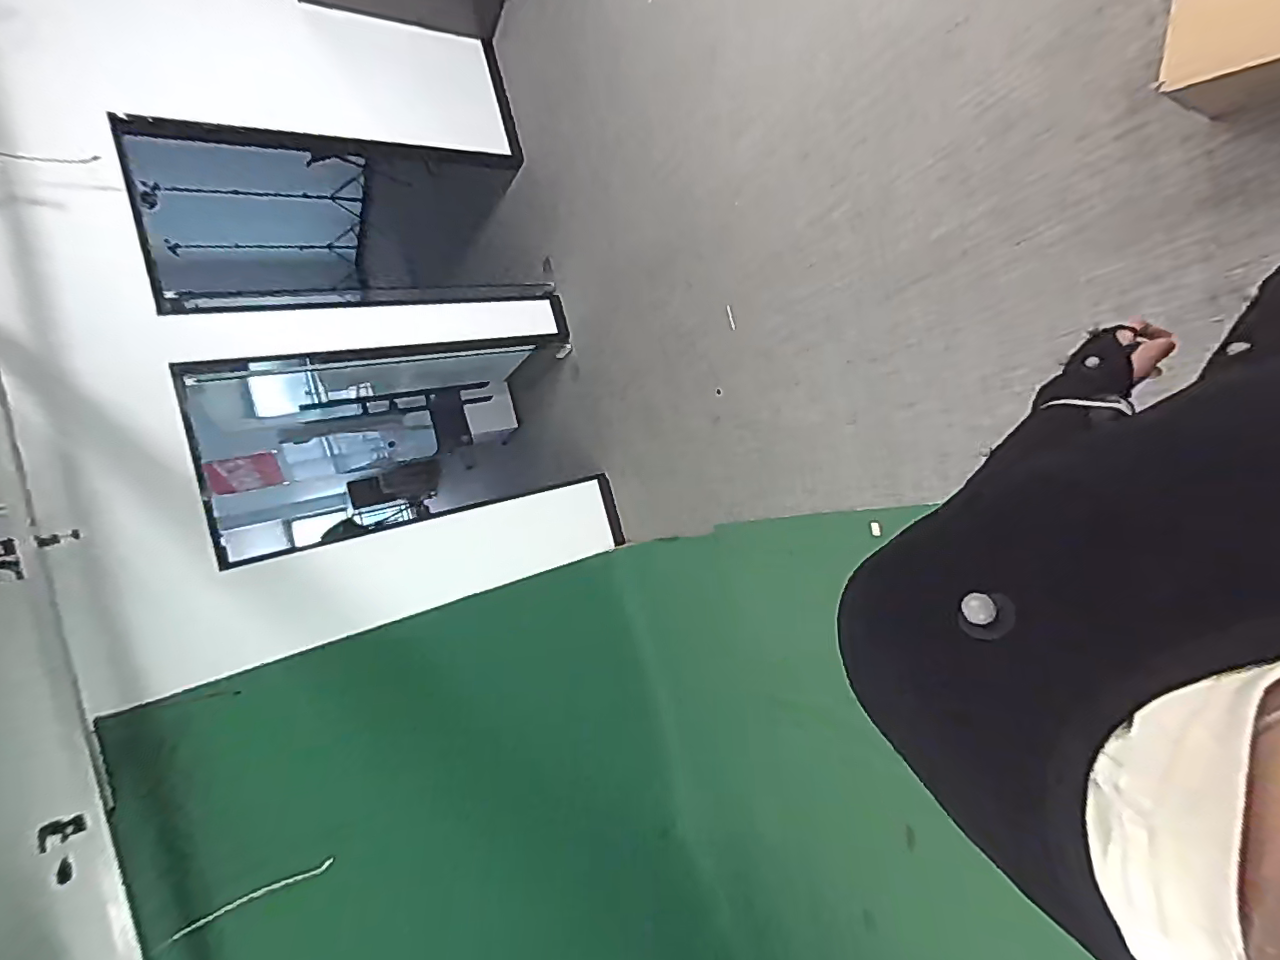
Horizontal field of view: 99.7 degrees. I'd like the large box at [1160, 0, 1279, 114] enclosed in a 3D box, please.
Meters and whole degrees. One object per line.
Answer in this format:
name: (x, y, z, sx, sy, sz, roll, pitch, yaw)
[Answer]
large box: (1.122, -0.810, 0.810, 0.408, 0.320, 0.320, 19, 117, 55)
